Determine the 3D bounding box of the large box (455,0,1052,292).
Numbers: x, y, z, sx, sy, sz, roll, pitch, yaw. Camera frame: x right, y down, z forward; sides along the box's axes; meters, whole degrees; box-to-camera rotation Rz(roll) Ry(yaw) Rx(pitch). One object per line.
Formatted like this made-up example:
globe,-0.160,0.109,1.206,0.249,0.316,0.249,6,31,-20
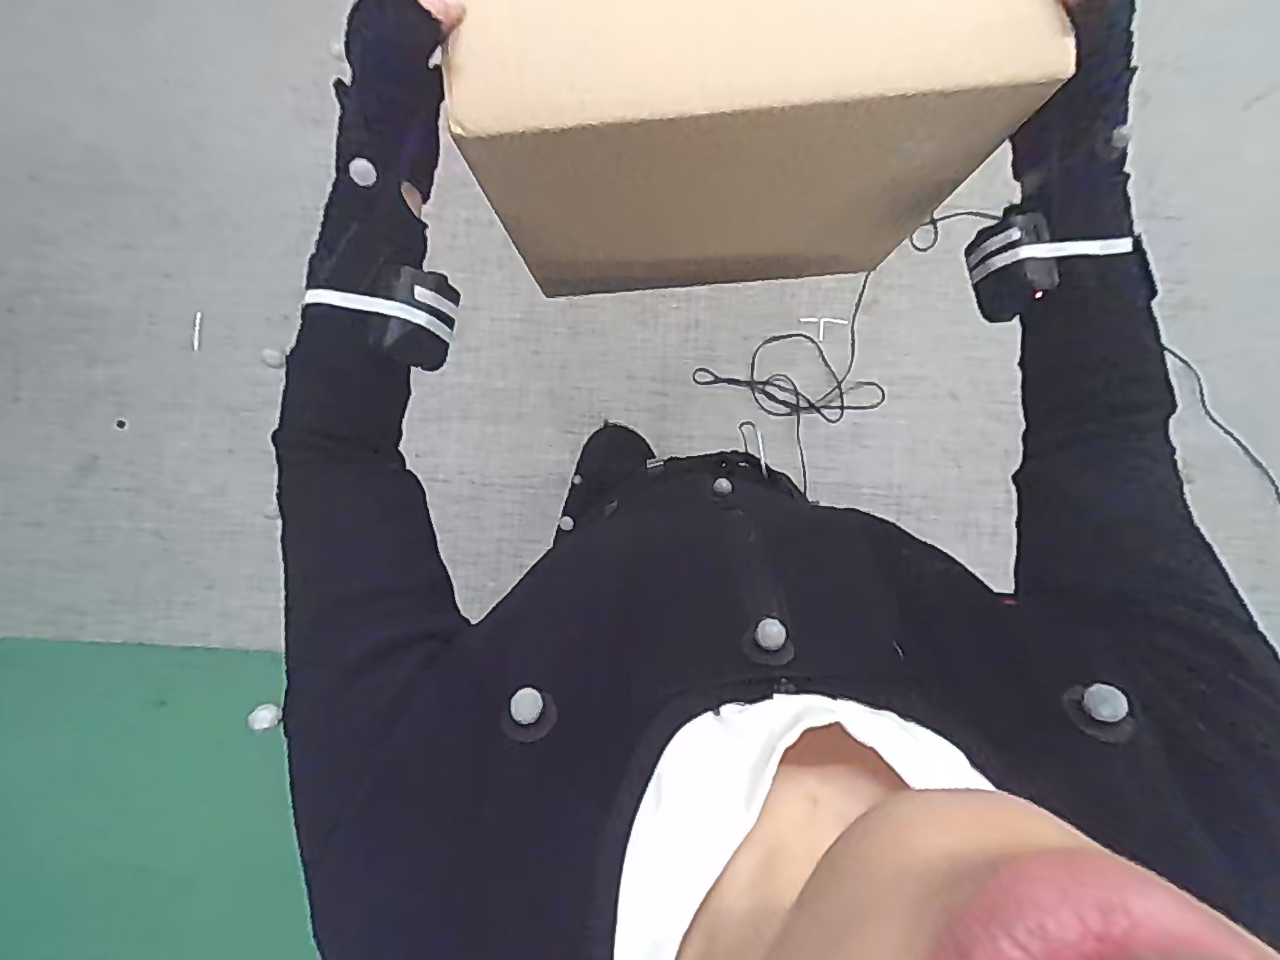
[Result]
large box,0.065,-0.400,0.514,0.408,0.320,0.320,-5,89,0
